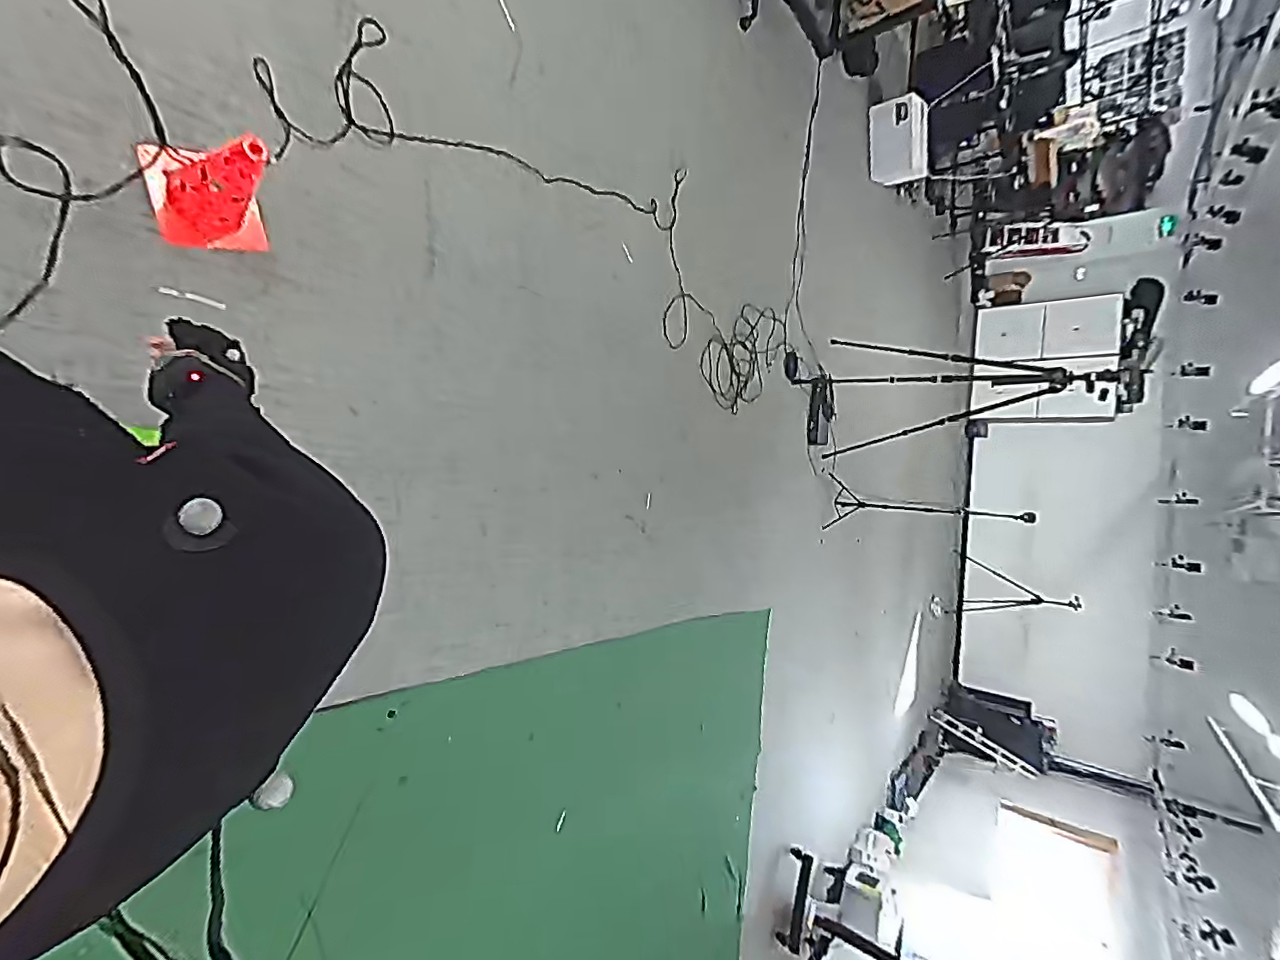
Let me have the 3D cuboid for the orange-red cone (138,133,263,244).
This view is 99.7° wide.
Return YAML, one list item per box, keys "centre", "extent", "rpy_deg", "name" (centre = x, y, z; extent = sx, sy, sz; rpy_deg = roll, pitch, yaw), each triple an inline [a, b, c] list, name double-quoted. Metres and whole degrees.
- centre: [-0.836, -0.621, 1.091]
  extent: [0.198, 0.360, 0.199]
  rpy_deg: [-21, 110, -47]
  name: "orange-red cone"
